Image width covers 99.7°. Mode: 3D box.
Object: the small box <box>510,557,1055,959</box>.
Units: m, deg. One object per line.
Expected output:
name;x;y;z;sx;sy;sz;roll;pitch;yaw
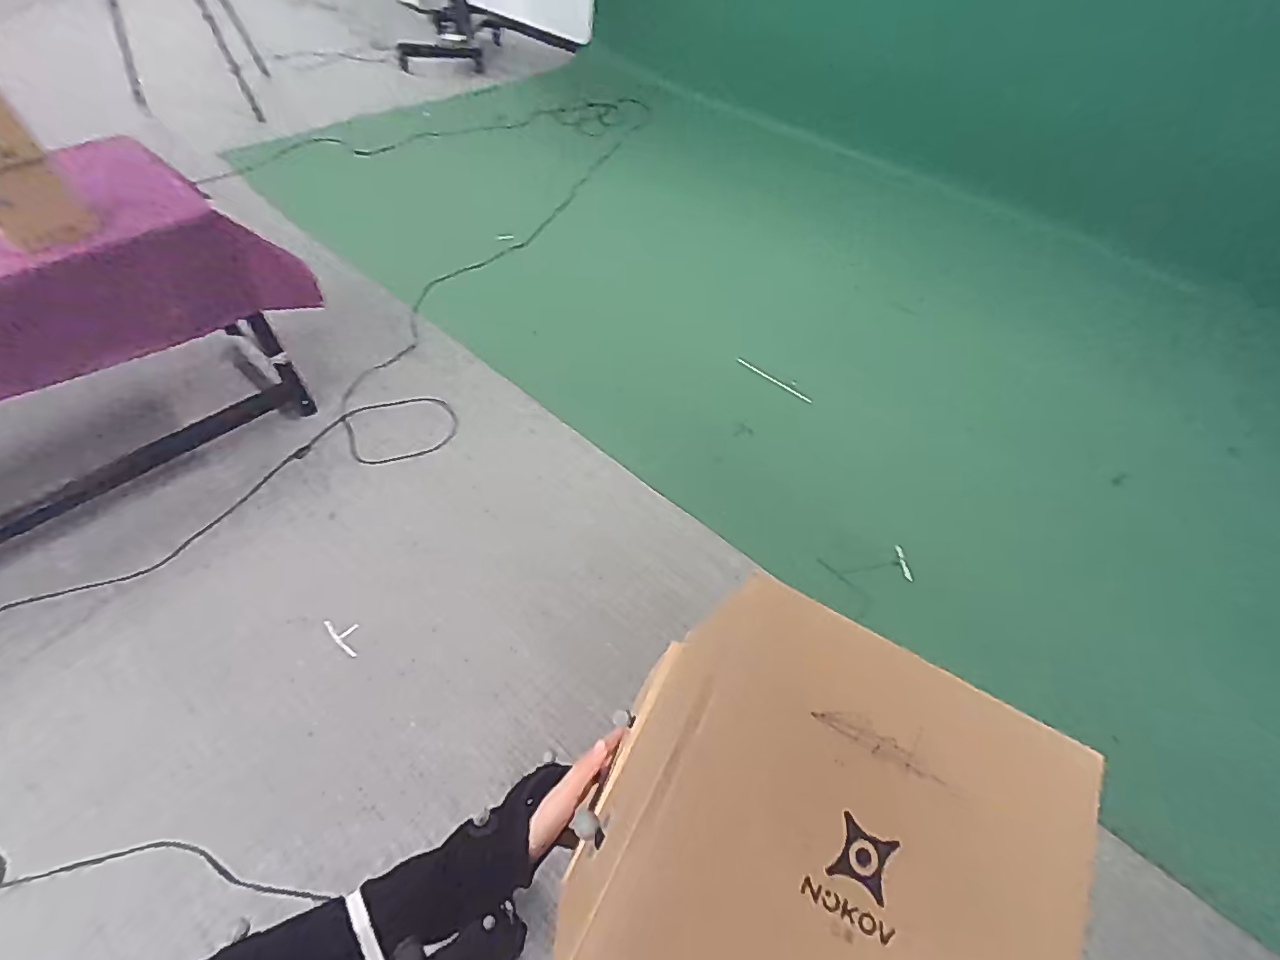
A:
small box;0.059;0.174;0.280;0.168;0.176;0.179;28;65;7

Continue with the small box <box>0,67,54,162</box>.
small box;-1.388;-0.771;1.107;0.179;0.176;0.168;32;57;19
